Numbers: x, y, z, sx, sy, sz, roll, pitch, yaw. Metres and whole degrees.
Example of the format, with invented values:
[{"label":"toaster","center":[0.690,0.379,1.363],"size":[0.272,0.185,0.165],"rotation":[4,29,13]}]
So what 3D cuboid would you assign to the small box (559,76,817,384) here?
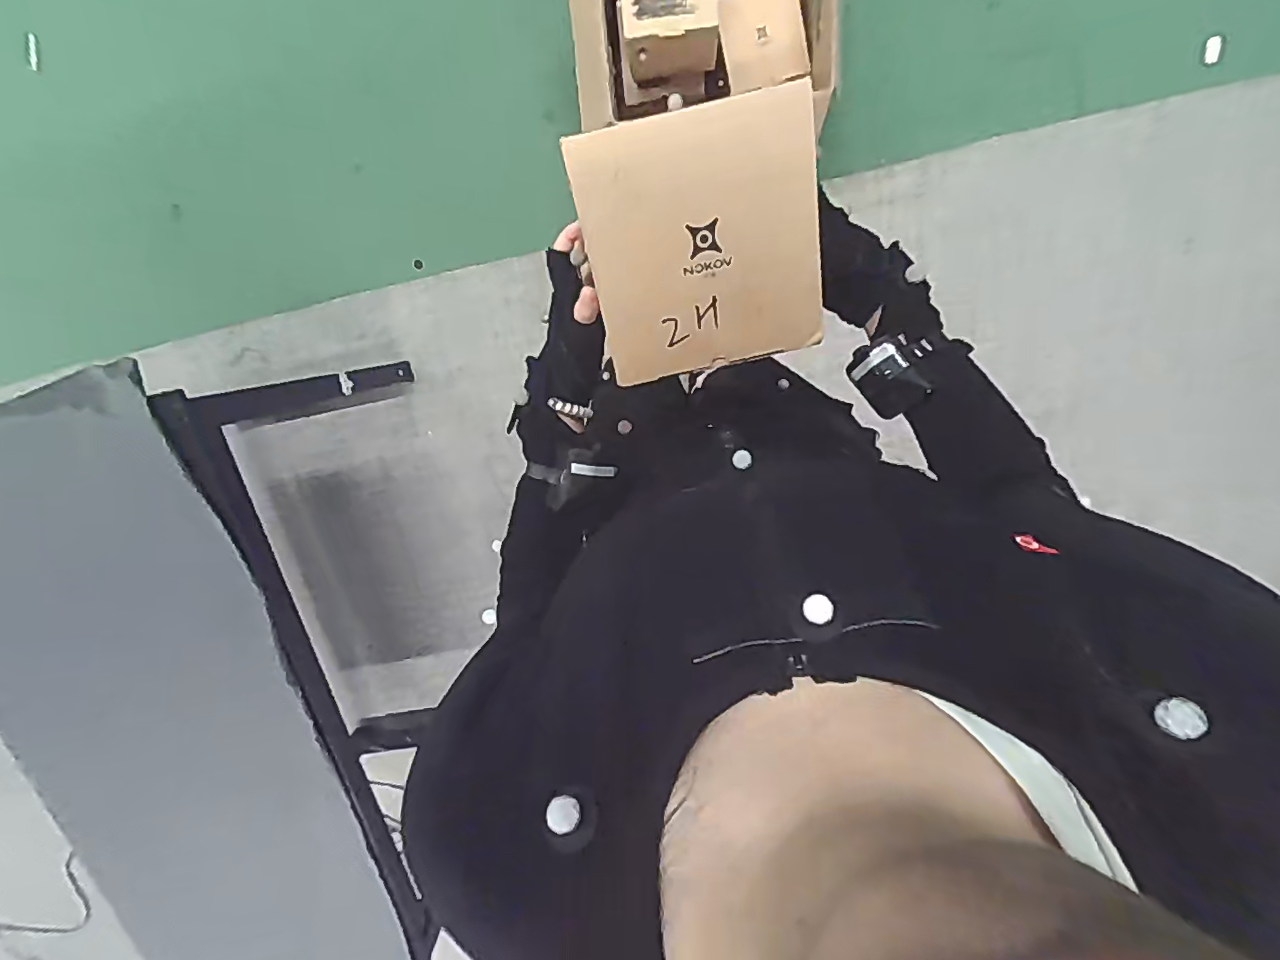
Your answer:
[{"label":"small box","center":[0.037,-0.201,0.454],"size":[0.168,0.176,0.179],"rotation":[-12,118,3]}]
